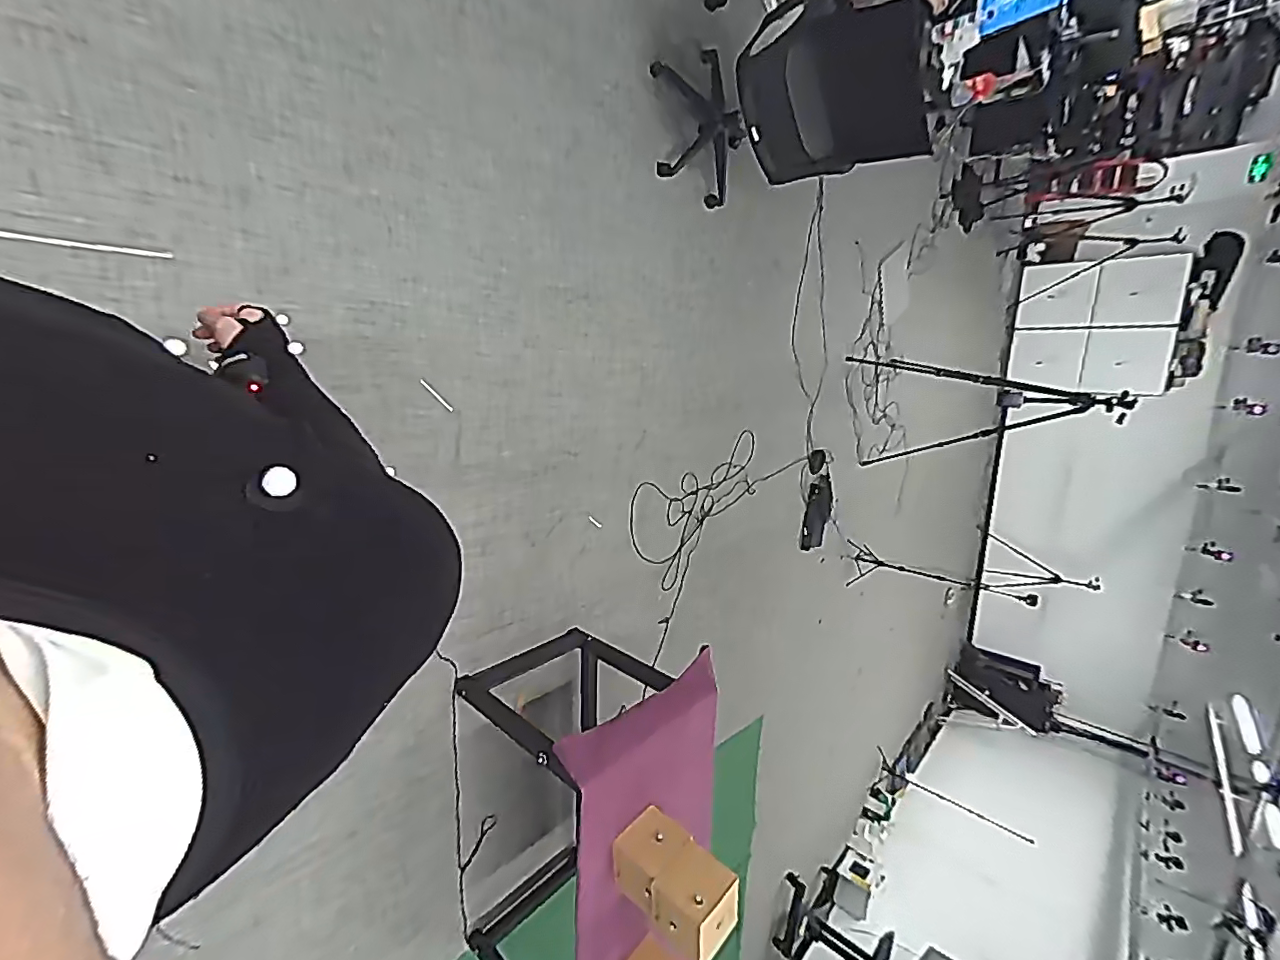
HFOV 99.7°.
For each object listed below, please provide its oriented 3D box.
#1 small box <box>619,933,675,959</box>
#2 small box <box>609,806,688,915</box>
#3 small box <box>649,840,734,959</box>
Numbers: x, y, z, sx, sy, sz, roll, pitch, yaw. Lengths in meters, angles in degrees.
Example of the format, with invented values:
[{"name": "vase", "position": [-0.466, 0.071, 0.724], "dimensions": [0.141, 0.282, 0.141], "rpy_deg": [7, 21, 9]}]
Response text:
[{"name": "small box", "position": [0.013, 1.604, 1.700], "dimensions": [0.179, 0.176, 0.168], "rpy_deg": [-14, 109, -48]}, {"name": "small box", "position": [0.027, 1.116, 1.599], "dimensions": [0.179, 0.176, 0.168], "rpy_deg": [-19, 112, -45]}, {"name": "small box", "position": [0.138, 1.146, 1.479], "dimensions": [0.179, 0.176, 0.168], "rpy_deg": [-17, 112, -45]}]
